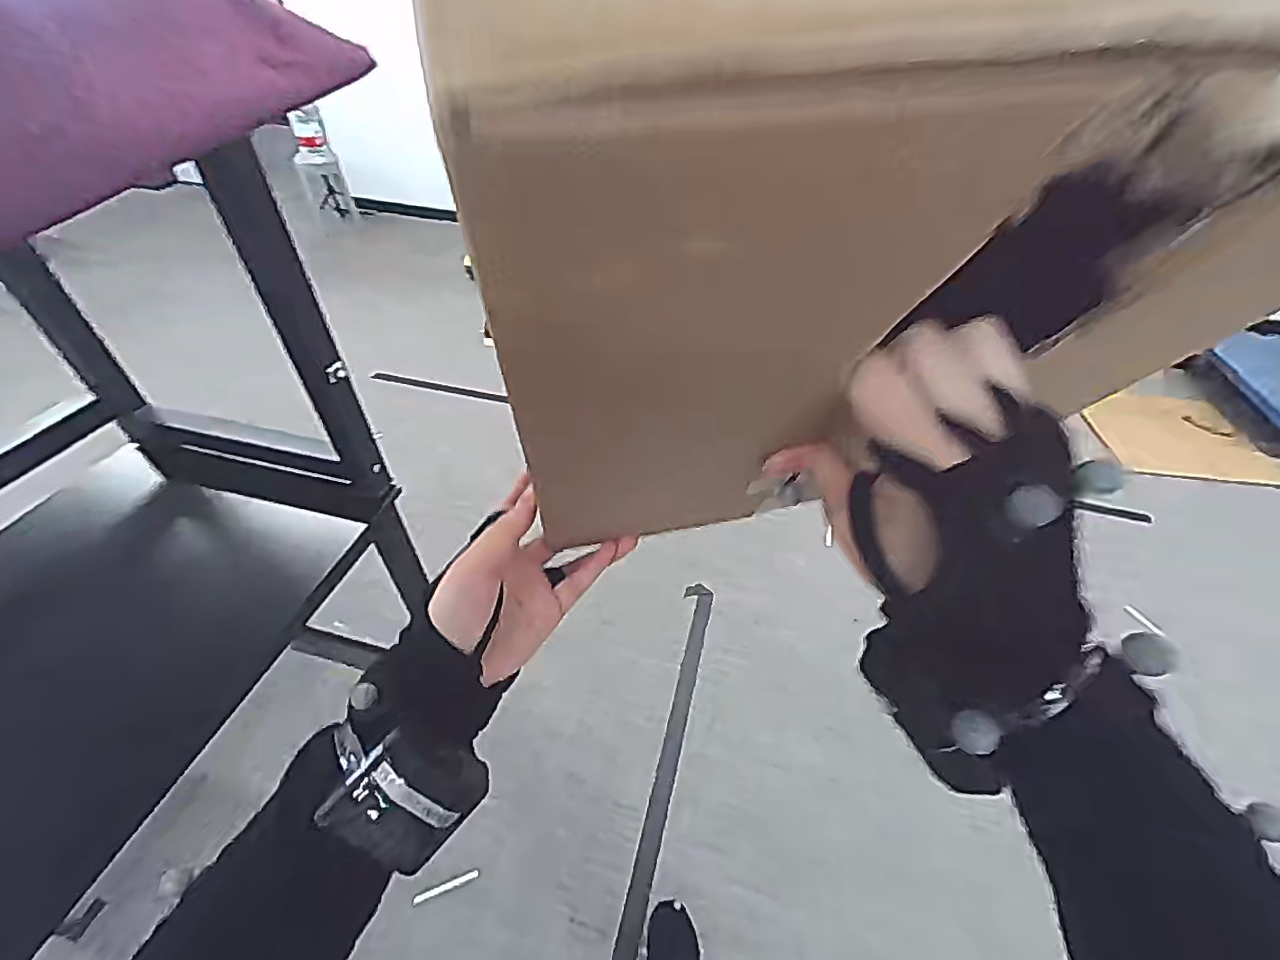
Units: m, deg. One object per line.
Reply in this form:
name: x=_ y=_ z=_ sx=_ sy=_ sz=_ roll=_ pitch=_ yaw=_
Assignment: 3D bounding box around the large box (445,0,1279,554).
large box: x=0.066 y=-0.207 z=0.315 sx=0.320 sy=0.320 sz=0.408 roll=-9 pitch=71 yaw=-10
